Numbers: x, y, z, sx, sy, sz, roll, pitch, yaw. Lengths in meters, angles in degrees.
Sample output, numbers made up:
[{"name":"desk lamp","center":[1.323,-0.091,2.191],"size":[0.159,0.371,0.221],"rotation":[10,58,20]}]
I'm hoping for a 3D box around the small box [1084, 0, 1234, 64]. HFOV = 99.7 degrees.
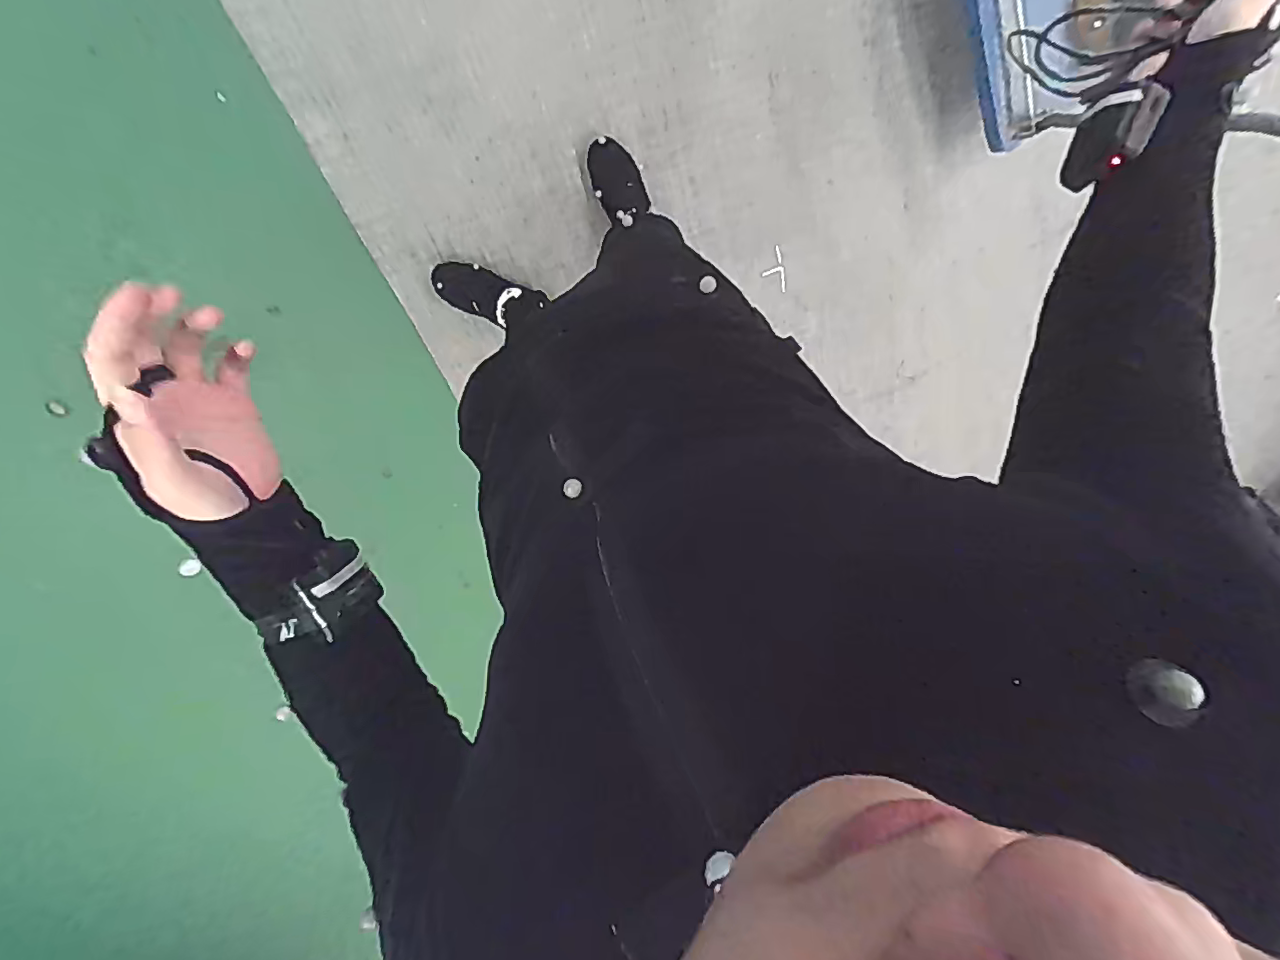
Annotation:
[{"name":"small box","center":[1.100,-1.030,1.150],"size":[0.179,0.176,0.168],"rotation":[-33,124,7]}]
